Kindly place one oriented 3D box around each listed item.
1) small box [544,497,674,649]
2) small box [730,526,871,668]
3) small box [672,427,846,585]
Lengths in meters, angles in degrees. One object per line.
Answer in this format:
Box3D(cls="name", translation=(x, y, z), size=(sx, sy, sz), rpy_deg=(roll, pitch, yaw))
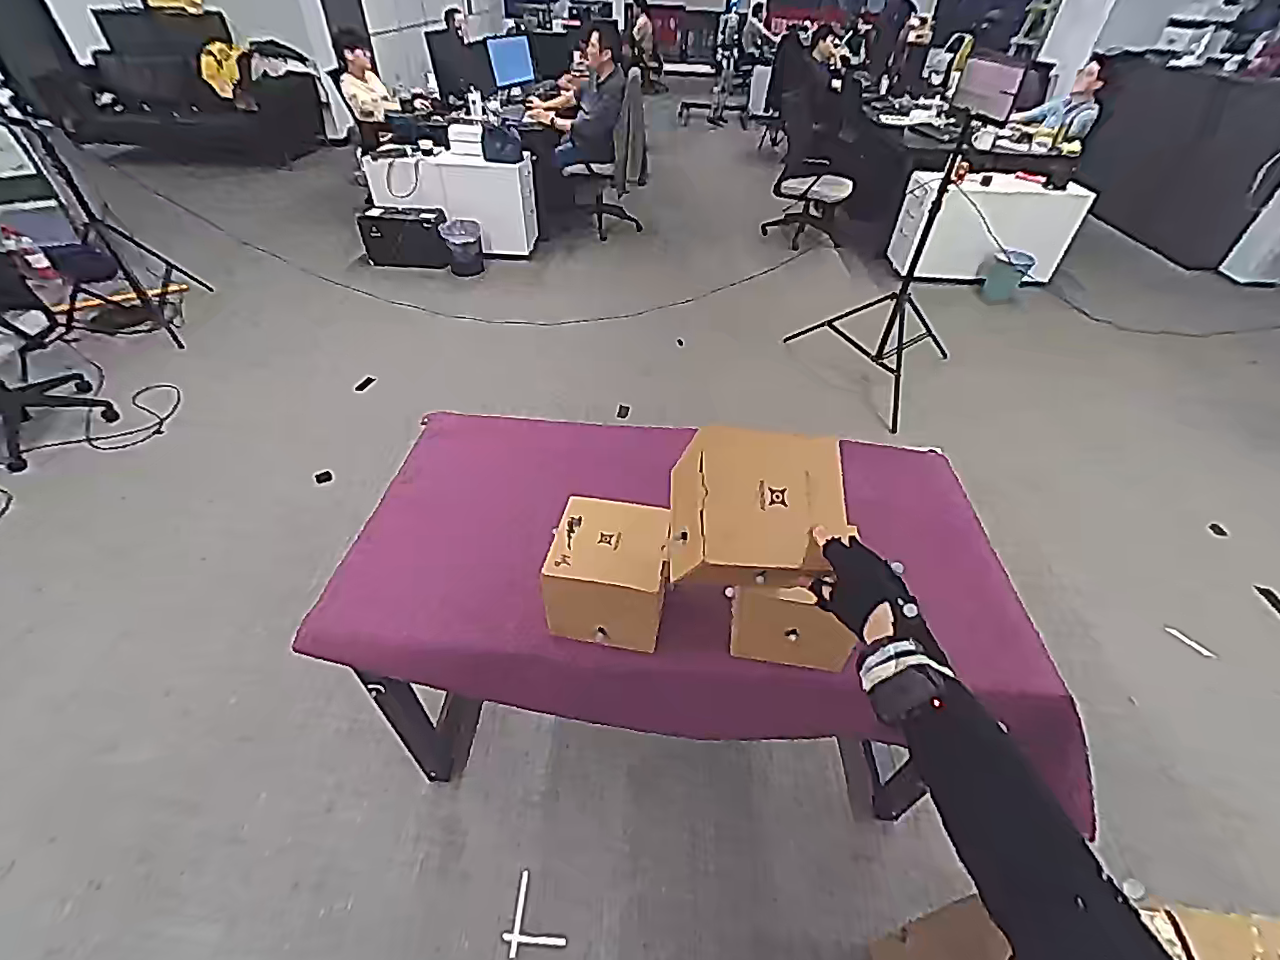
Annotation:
Box3D(cls="small box", translation=(-0.044, 0.154, 0.884), size=(0.179, 0.176, 0.168), rpy_deg=(8, 42, 6))
Box3D(cls="small box", translation=(0.246, 0.180, 0.866), size=(0.179, 0.176, 0.168), rpy_deg=(7, 42, 6))
Box3D(cls="small box", translation=(0.139, 0.043, 0.706), size=(0.179, 0.176, 0.168), rpy_deg=(3, 71, -8))
